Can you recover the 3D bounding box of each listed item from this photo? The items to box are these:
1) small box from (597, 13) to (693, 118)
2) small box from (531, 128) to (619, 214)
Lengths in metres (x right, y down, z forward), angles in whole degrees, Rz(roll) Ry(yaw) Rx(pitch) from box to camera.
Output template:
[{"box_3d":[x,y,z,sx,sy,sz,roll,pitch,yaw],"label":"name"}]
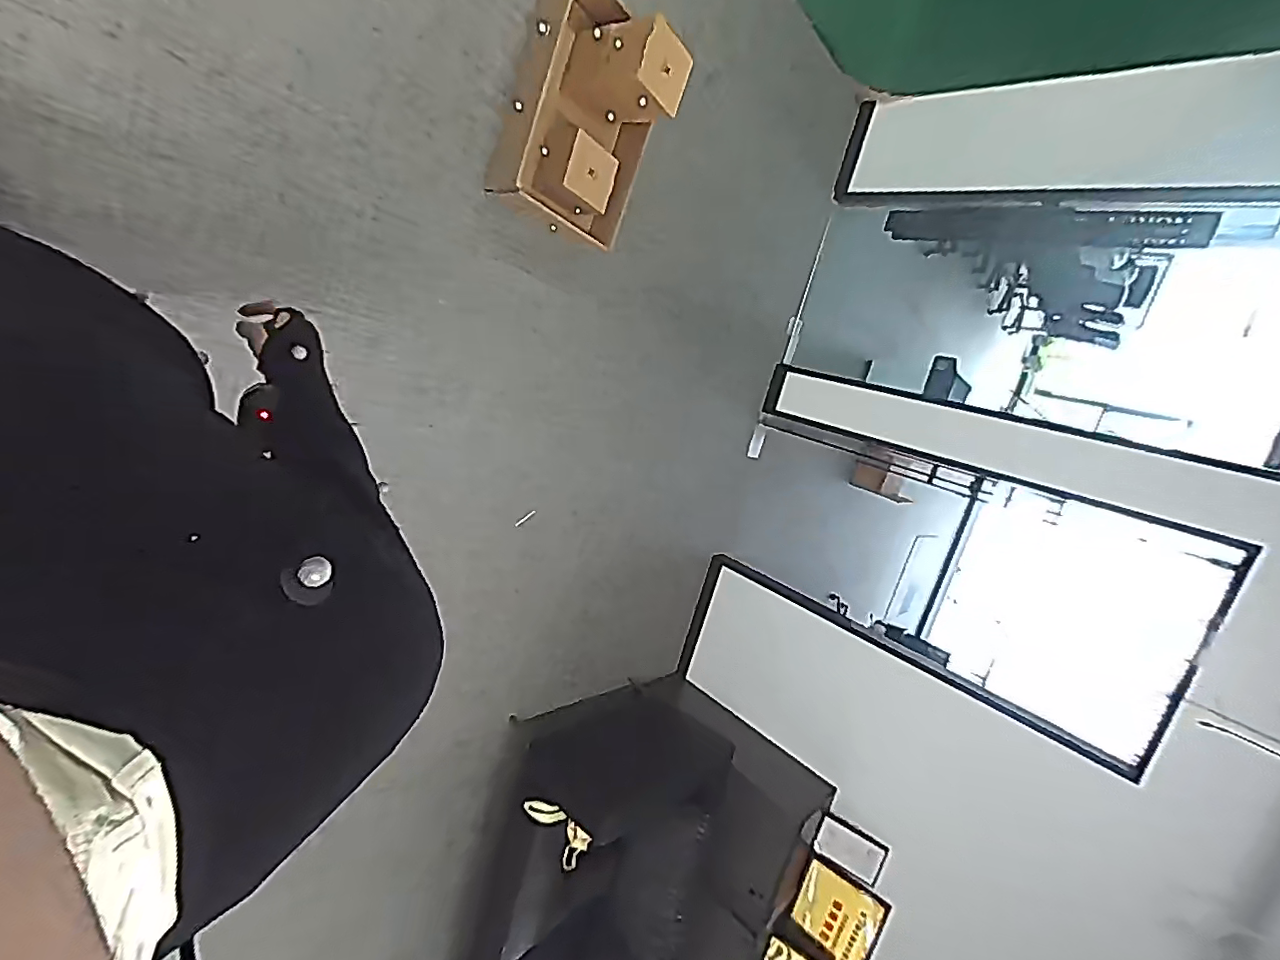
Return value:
[{"box_3d":[0.013,-1.155,1.523,0.179,0.176,0.168,11,102,-51],"label":"small box"},{"box_3d":[-0.199,-0.941,1.655,0.179,0.176,0.168,11,100,-50],"label":"small box"}]
